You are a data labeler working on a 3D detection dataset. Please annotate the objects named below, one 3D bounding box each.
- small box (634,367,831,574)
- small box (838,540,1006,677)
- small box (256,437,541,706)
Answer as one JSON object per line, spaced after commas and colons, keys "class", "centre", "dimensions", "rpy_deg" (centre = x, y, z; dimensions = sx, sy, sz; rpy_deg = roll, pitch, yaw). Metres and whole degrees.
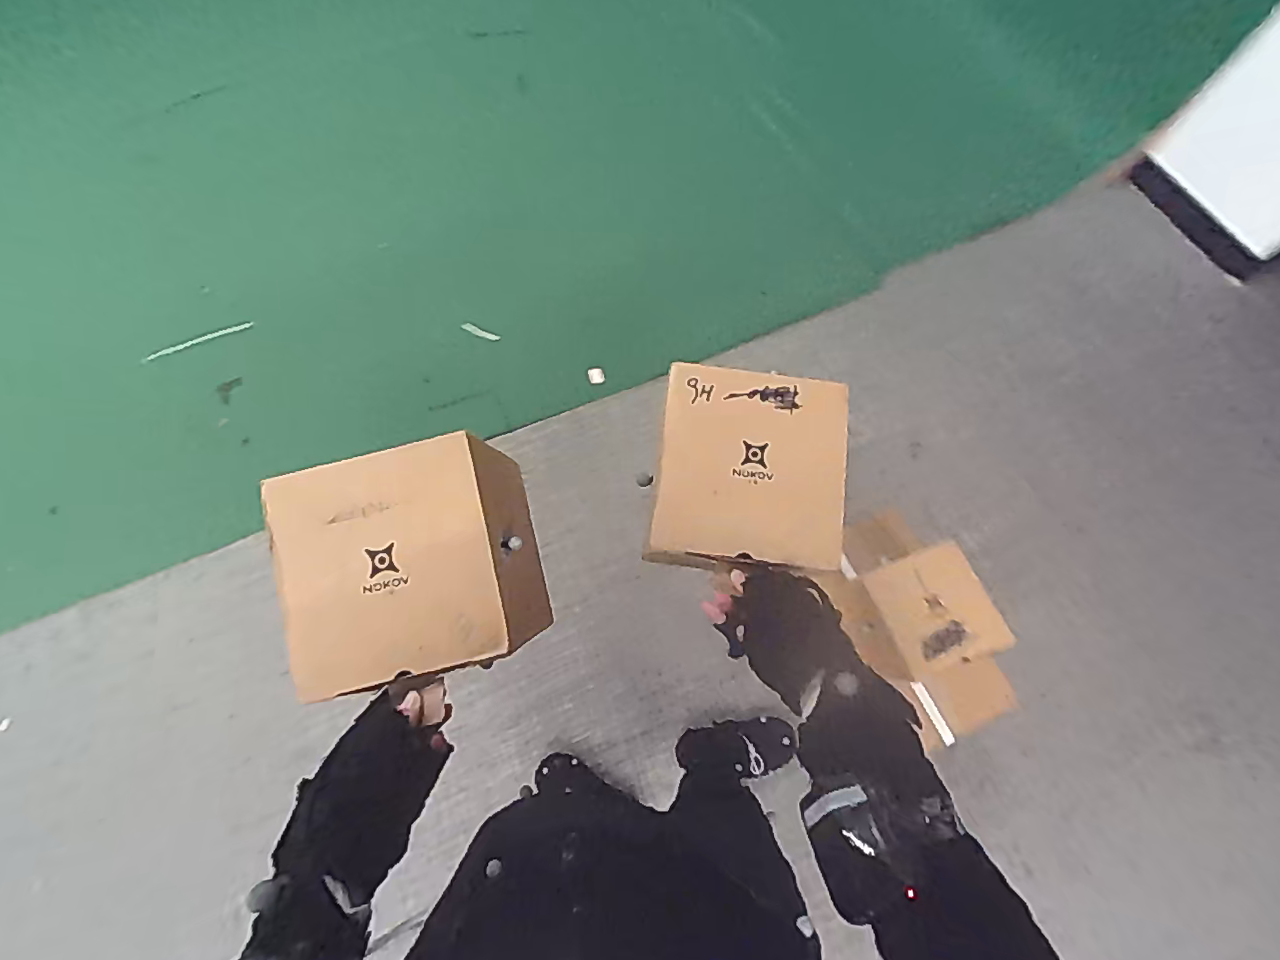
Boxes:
{"class": "small box", "centre": [0.085, 0.002, 0.565], "dimensions": [0.168, 0.176, 0.179], "rpy_deg": [7, 79, -1]}
{"class": "small box", "centre": [0.467, 0.222, 0.926], "dimensions": [0.168, 0.176, 0.179], "rpy_deg": [-18, 71, -1]}
{"class": "small box", "centre": [-0.200, 0.077, 0.493], "dimensions": [0.168, 0.176, 0.179], "rpy_deg": [-15, 82, -2]}
